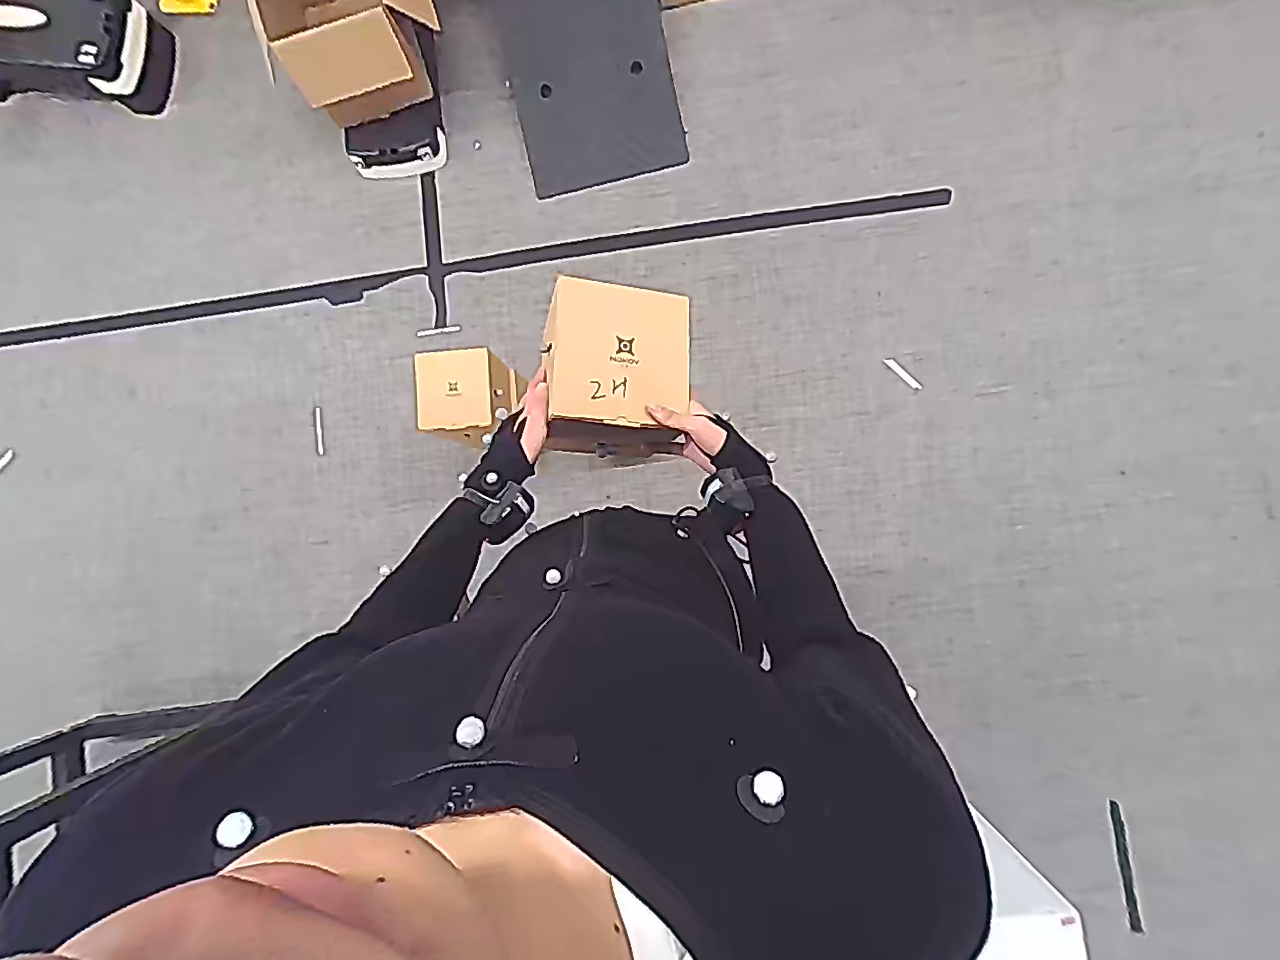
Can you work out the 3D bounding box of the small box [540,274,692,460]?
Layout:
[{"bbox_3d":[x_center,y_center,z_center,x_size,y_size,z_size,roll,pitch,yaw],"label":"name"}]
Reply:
[{"bbox_3d":[-0.038,-0.135,0.706,0.168,0.176,0.179,4,79,-15],"label":"small box"}]

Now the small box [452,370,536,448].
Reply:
[{"bbox_3d":[-0.385,-0.180,1.420,0.179,0.176,0.168,-6,87,1],"label":"small box"}]

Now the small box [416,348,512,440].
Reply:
[{"bbox_3d":[-0.403,-0.193,1.259,0.168,0.176,0.179,-4,88,2],"label":"small box"}]
